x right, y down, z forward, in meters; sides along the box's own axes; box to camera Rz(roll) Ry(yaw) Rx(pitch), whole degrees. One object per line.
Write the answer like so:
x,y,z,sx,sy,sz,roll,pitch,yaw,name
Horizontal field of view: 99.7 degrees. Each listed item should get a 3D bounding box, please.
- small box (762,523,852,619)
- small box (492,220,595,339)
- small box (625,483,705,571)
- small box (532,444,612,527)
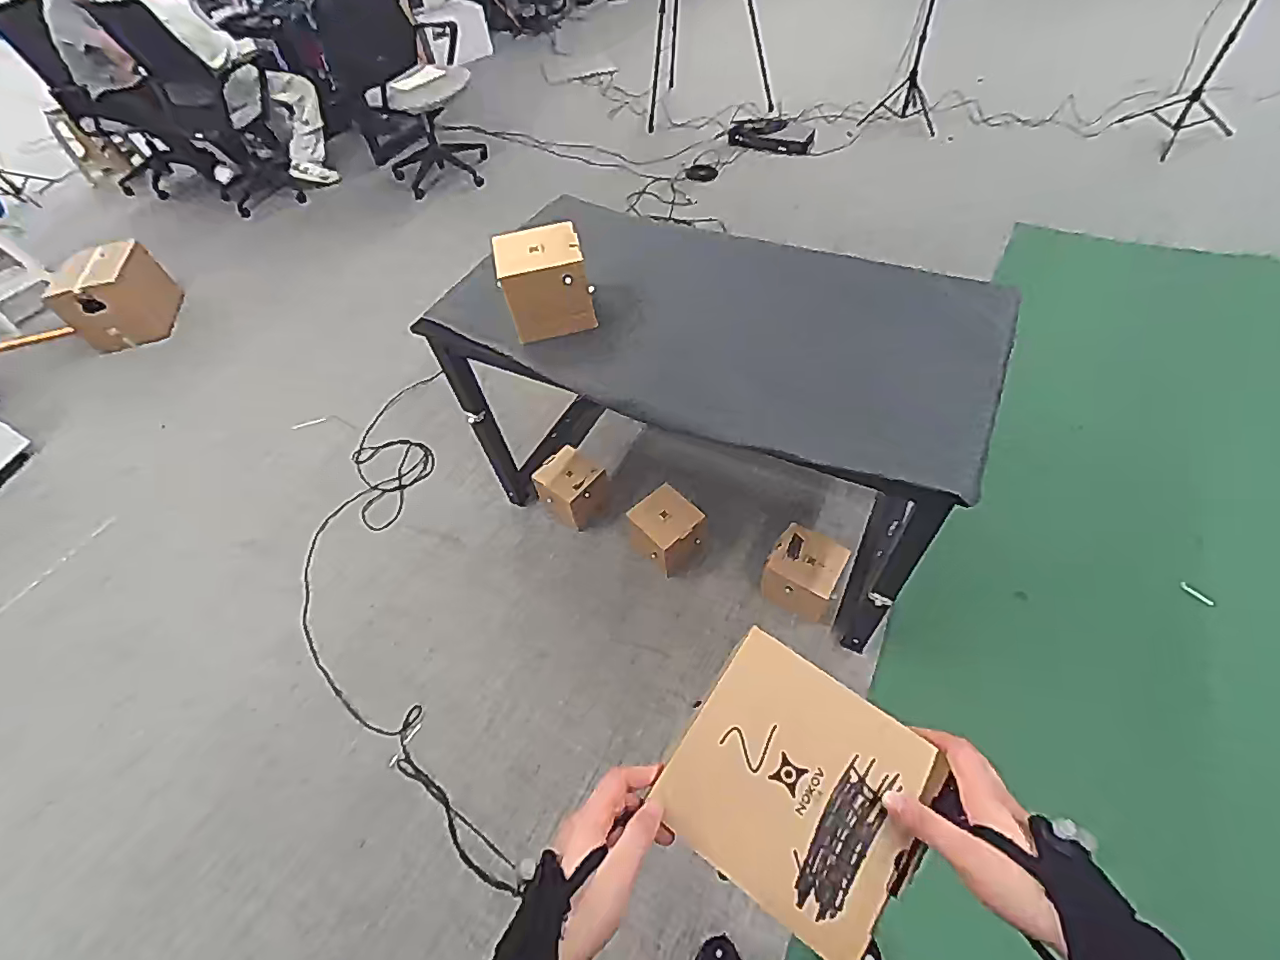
0.451,0.255,1.488,0.179,0.176,0.168,26,61,23,small box
-0.207,-0.428,1.172,0.179,0.176,0.168,-14,53,-4,small box
0.081,0.148,1.616,0.168,0.176,0.179,-37,56,-20,small box
-0.215,0.023,1.748,0.179,0.176,0.168,32,63,28,small box
